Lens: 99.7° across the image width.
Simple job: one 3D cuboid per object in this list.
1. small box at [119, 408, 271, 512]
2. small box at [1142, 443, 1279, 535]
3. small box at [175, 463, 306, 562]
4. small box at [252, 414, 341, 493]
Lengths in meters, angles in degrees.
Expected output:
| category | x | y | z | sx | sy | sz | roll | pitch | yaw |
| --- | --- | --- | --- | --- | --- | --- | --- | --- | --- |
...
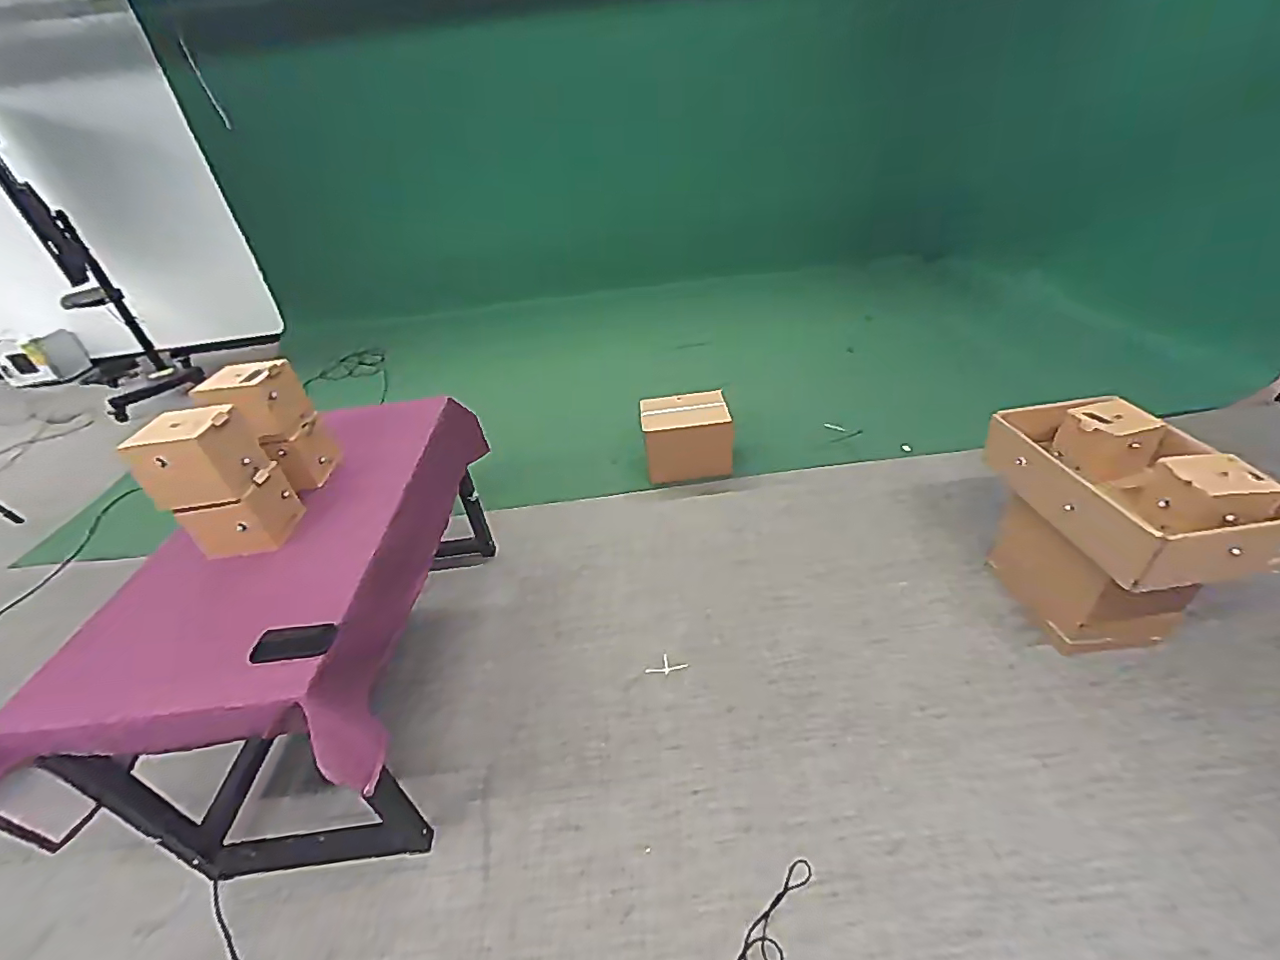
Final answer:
| category | x | y | z | sx | sy | sz | roll | pitch | yaw |
| --- | --- | --- | --- | --- | --- | --- | --- | --- | --- |
| small box | -1.008 | -0.044 | 1.245 | 0.179 | 0.176 | 0.168 | -9 | 35 | -1 |
| small box | 1.434 | 0.026 | 1.372 | 0.179 | 0.176 | 0.168 | -6 | 36 | 6 |
| small box | -0.979 | 0.082 | 1.348 | 0.179 | 0.176 | 0.168 | -9 | 35 | 0 |
| small box | -1.010 | -0.069 | 1.564 | 0.179 | 0.176 | 0.168 | -8 | 35 | -1 |
